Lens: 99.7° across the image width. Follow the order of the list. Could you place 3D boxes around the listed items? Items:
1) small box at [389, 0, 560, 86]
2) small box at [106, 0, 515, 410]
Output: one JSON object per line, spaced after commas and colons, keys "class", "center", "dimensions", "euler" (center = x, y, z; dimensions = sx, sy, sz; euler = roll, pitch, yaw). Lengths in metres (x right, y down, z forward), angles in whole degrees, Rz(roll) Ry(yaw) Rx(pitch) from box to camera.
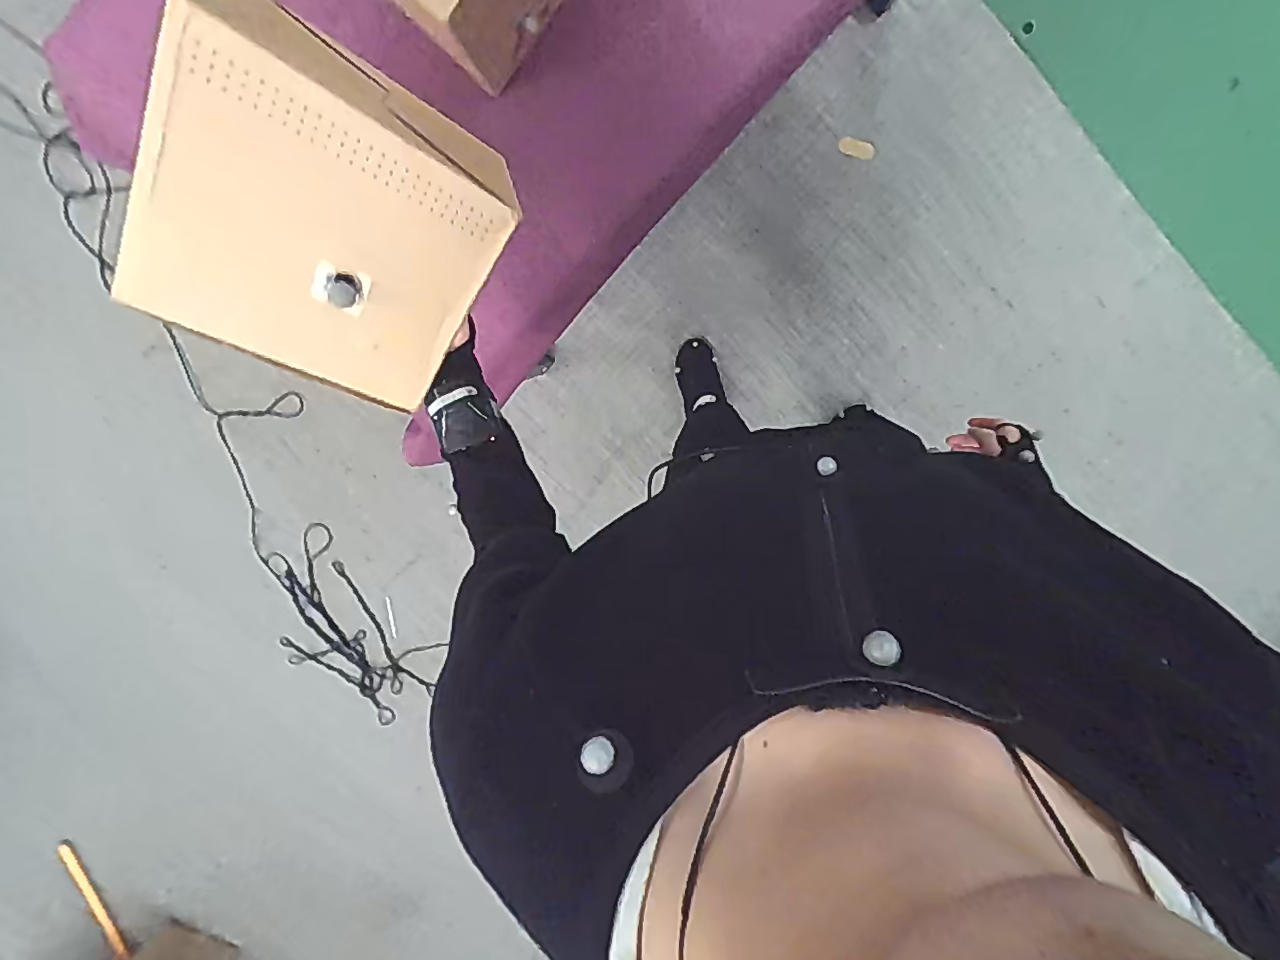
{"class": "small box", "center": [-0.196, -0.559, 0.550], "dimensions": [0.179, 0.176, 0.168], "euler": [40, 103, -8]}
{"class": "small box", "center": [-0.201, -0.183, 0.363], "dimensions": [0.179, 0.168, 0.176], "euler": [22, 121, -33]}
